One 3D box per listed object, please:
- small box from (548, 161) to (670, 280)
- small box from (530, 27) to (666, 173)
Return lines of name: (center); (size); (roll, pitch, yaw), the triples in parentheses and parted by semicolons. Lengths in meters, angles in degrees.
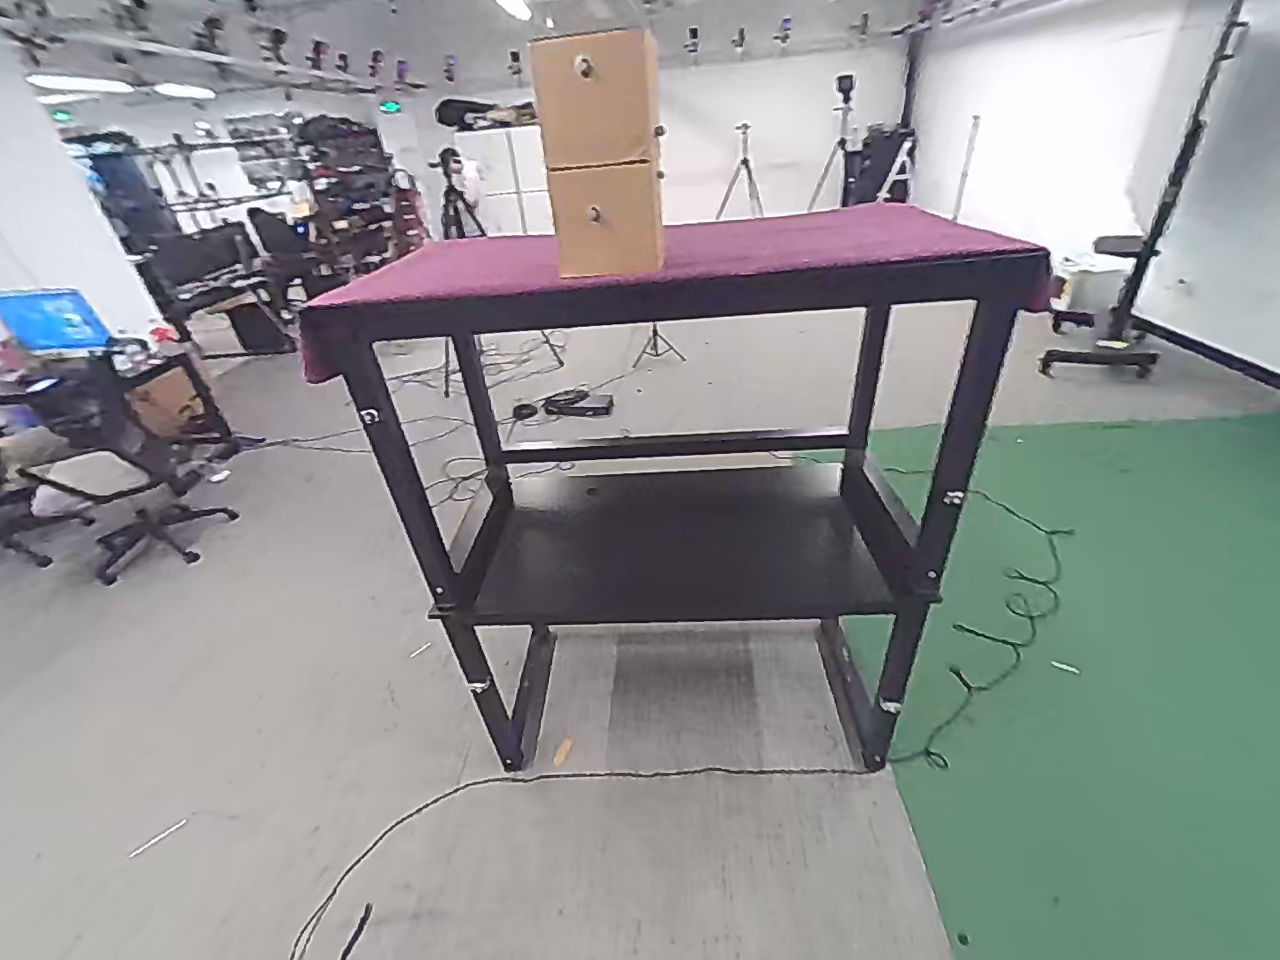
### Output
small box: (-0.044, -0.459, 0.958); (0.179, 0.176, 0.168); (-2, 32, 8)
small box: (-0.056, -0.599, 0.872); (0.179, 0.176, 0.168); (1, 32, 9)
